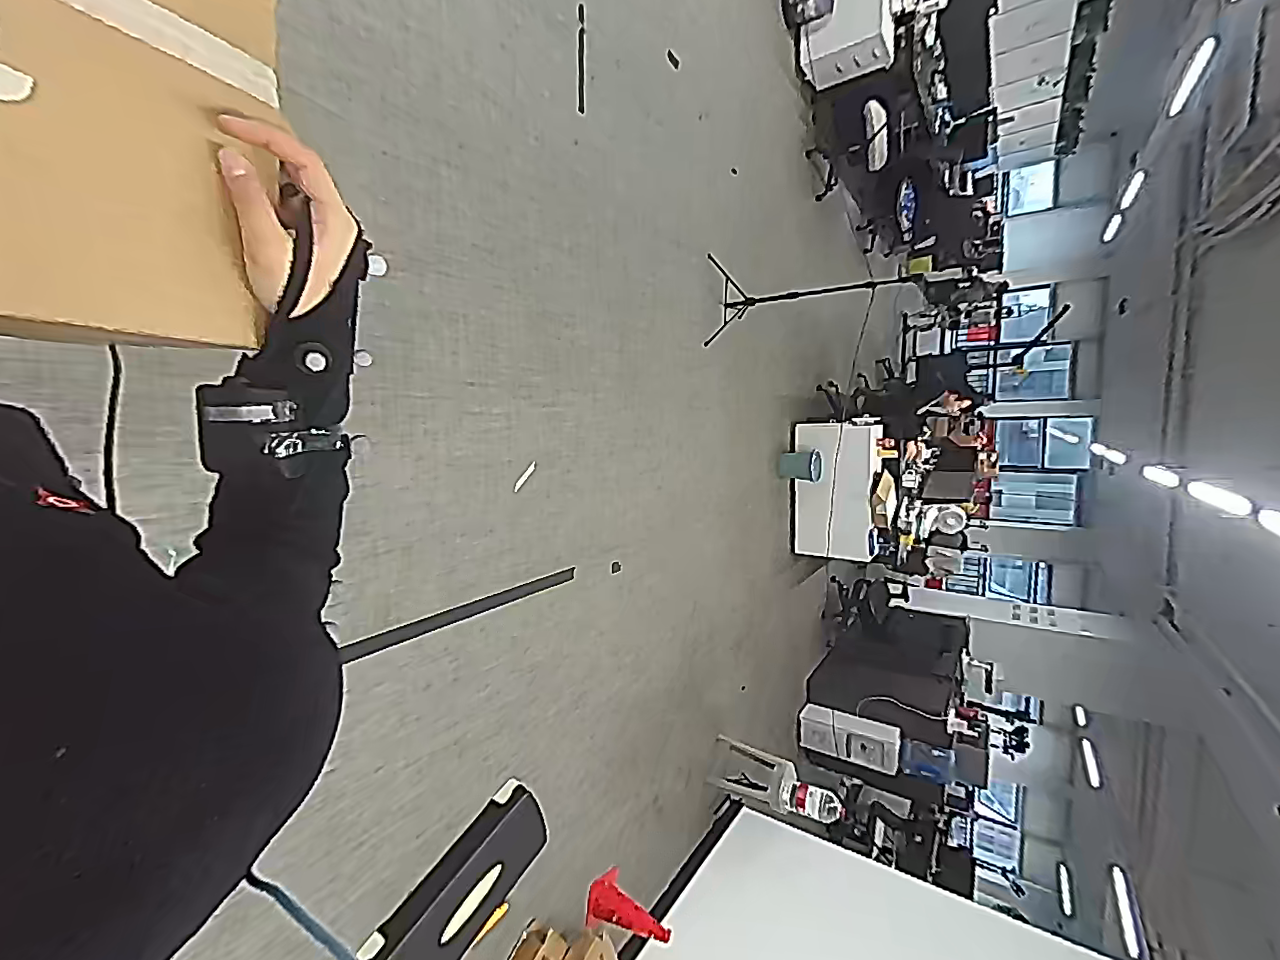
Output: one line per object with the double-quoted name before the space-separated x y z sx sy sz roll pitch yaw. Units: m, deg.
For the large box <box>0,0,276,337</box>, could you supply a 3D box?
"large box" -0.460 -0.249 0.240 0.408 0.320 0.320 -8 105 -61
